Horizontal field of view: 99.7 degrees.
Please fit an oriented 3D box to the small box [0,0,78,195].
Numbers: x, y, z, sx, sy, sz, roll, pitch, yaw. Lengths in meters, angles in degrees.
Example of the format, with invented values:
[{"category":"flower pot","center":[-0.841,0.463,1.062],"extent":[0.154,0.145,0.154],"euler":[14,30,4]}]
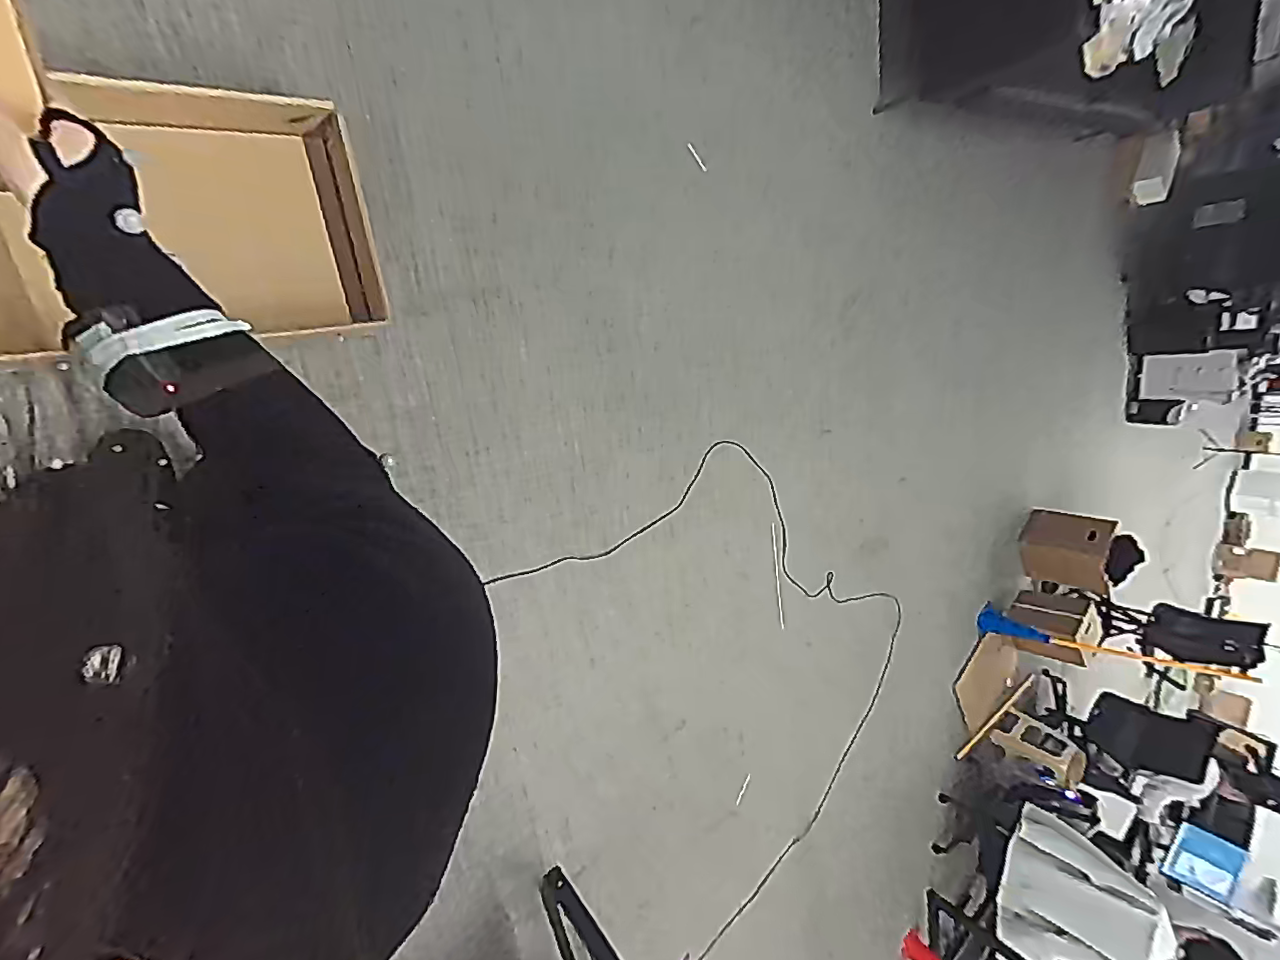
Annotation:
[{"category":"small box","center":[-0.511,-0.292,0.353],"extent":[0.168,0.176,0.179],"euler":[-17,120,-38]}]
